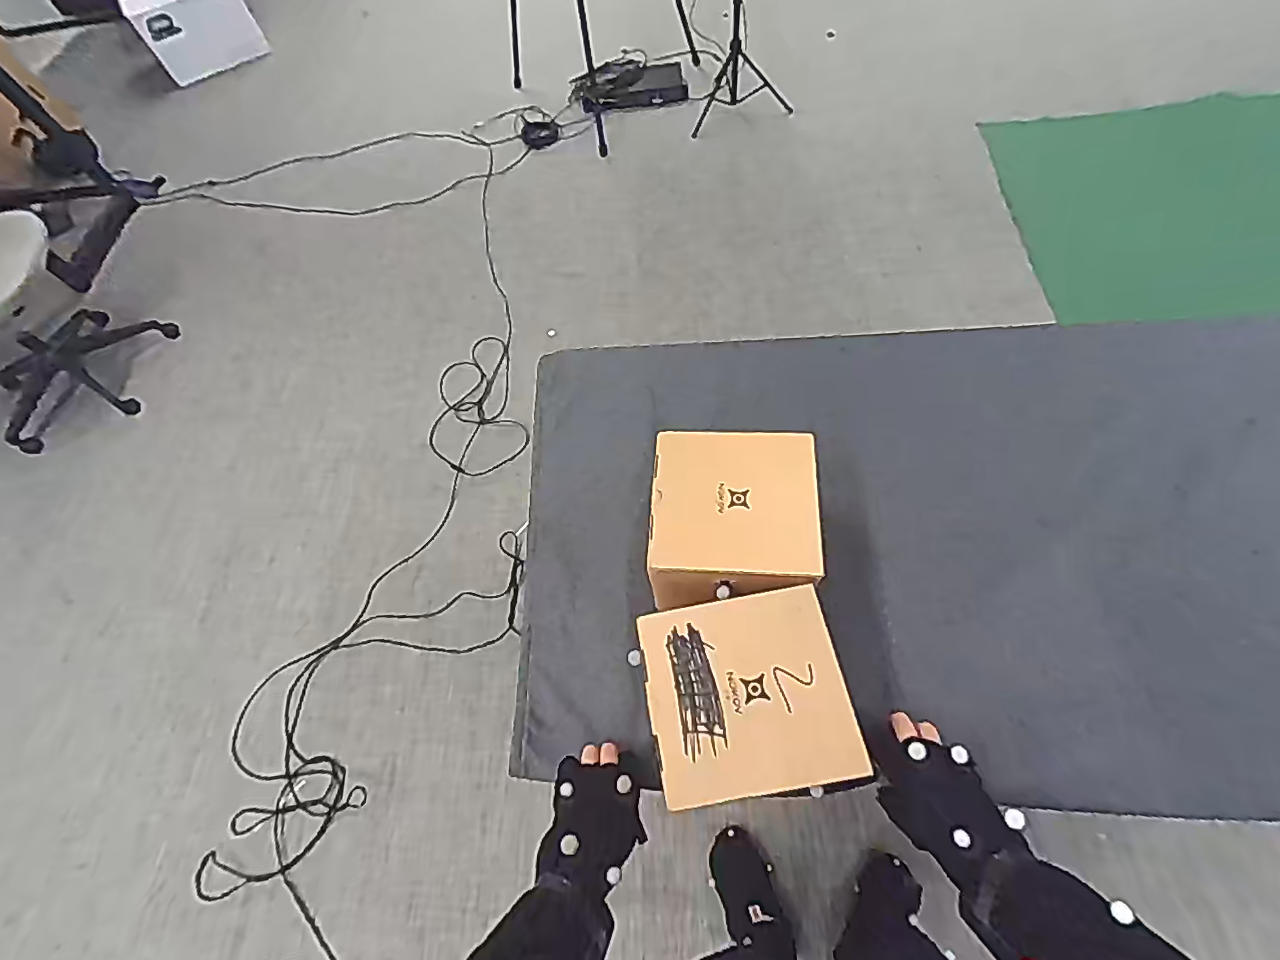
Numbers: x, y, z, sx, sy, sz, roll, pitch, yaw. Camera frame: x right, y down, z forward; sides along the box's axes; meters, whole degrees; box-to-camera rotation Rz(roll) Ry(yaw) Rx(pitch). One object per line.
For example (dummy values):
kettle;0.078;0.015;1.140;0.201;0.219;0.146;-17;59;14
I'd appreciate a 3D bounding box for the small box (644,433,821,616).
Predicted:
small box;0.105;0.058;0.640;0.179;0.176;0.168;0;62;8
